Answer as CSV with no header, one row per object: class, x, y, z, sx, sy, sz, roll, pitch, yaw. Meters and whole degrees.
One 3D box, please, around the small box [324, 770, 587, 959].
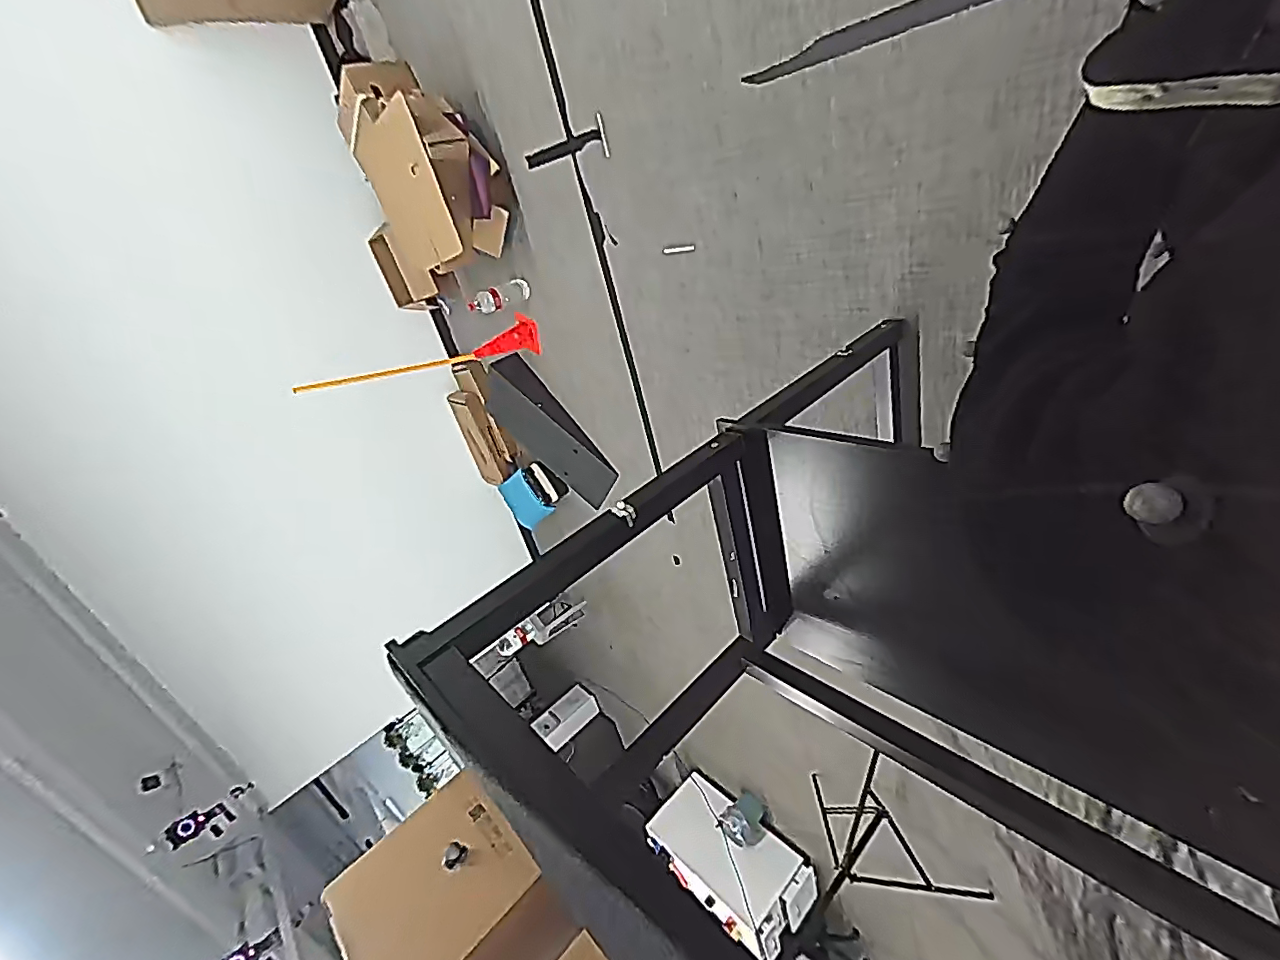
small box,-0.178,0.451,0.555,0.168,0.176,0.179,18,133,45
